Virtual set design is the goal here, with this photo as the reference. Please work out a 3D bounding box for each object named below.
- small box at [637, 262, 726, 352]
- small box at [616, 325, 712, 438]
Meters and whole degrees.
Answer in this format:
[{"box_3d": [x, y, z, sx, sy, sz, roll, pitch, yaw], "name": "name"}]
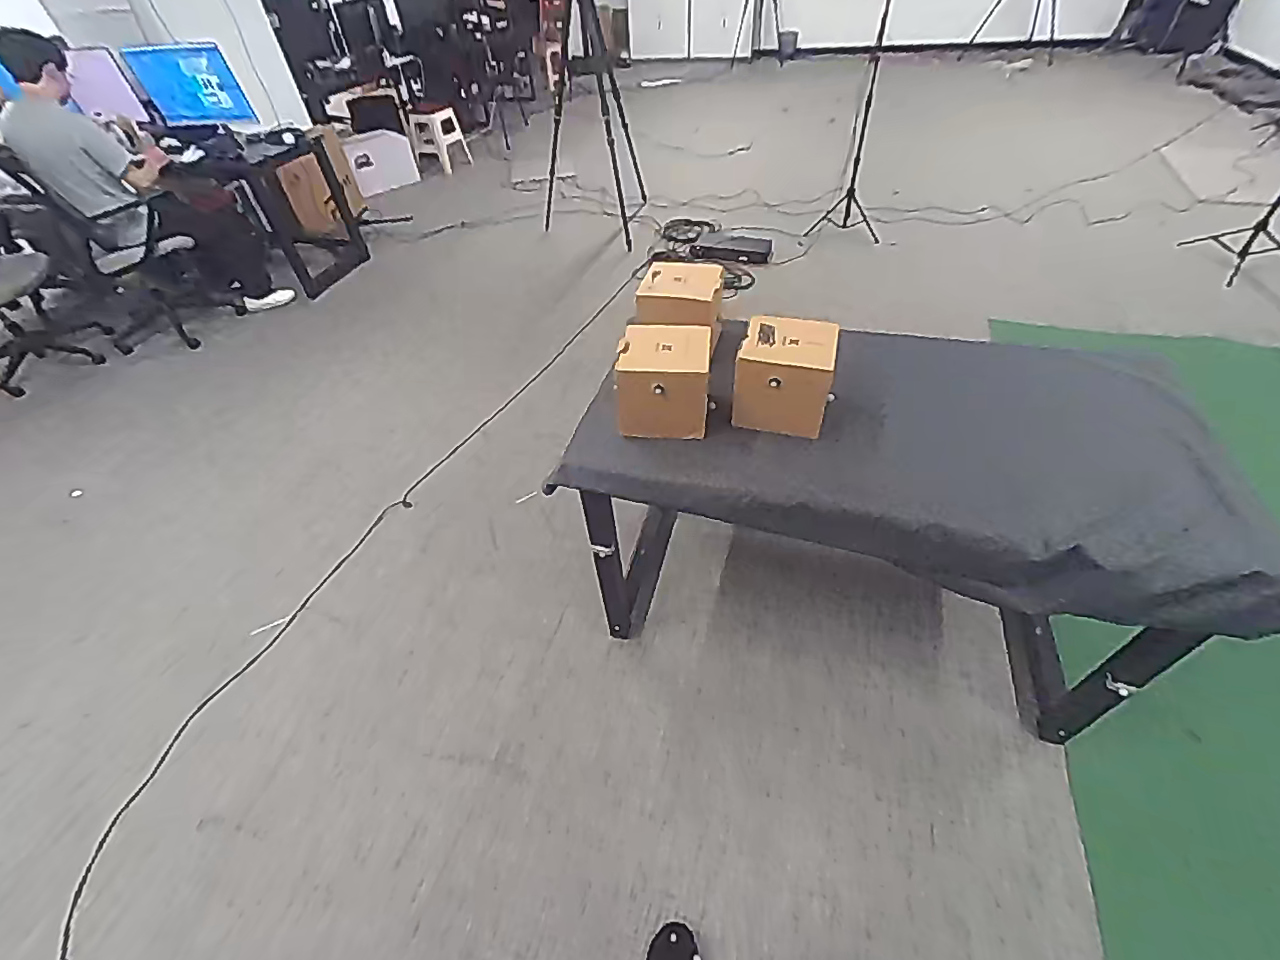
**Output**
[{"box_3d": [0.101, -0.400, 1.298, 0.179, 0.176, 0.168, 10, 48, 13], "name": "small box"}, {"box_3d": [0.054, -0.201, 1.110, 0.179, 0.176, 0.168, 4, 47, 6], "name": "small box"}]
